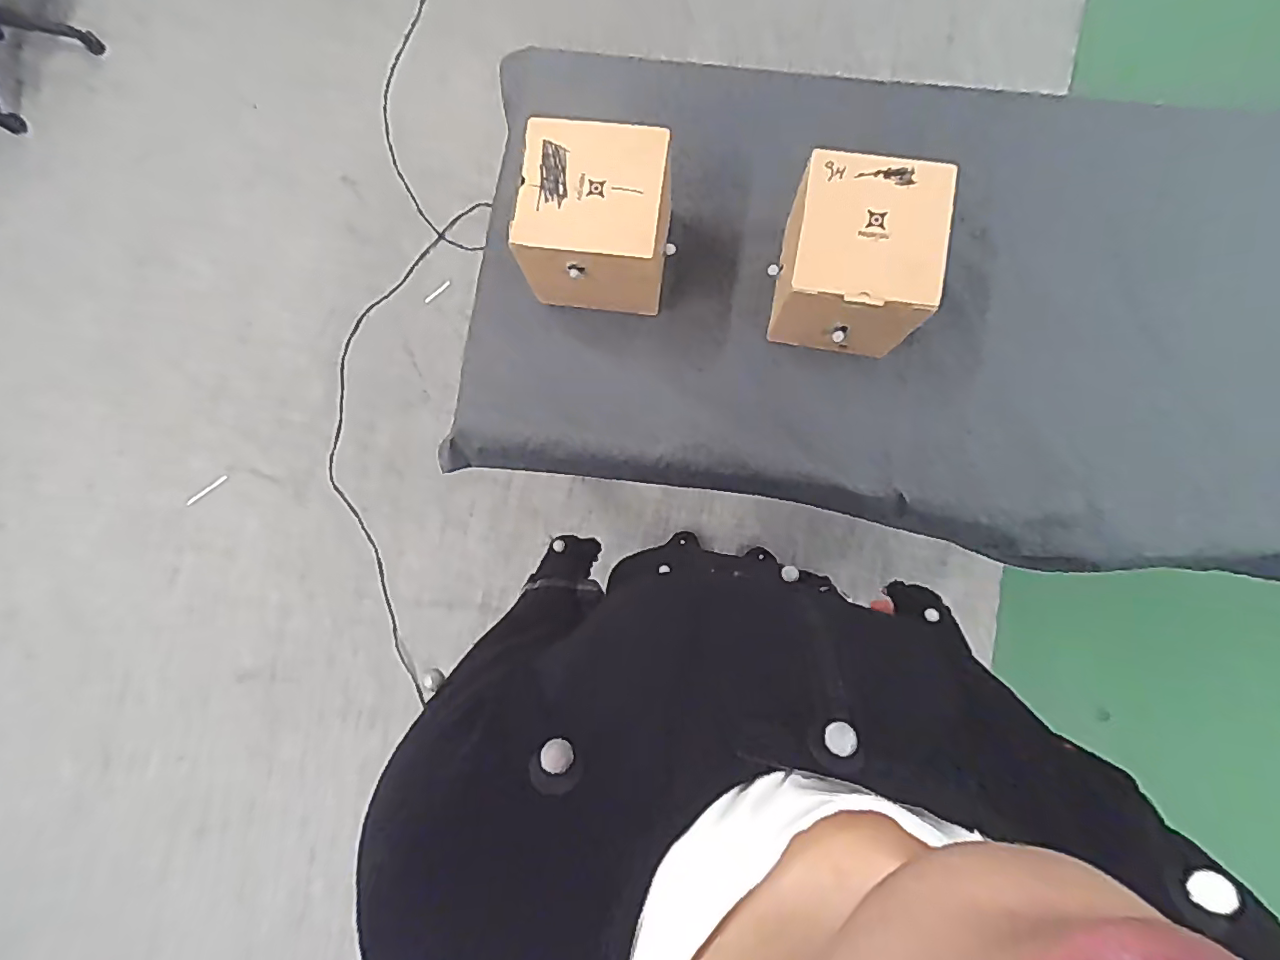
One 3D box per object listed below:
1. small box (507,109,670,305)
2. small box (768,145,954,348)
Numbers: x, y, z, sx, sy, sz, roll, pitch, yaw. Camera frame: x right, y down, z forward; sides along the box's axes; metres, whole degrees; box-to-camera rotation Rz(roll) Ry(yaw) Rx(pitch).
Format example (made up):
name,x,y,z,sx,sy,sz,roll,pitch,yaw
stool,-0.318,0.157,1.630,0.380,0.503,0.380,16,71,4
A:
name,x,y,z,sx,sy,sz,roll,pitch,yaw
small box,-0.057,-0.348,0.719,0.179,0.176,0.168,8,86,3
small box,0.267,-0.285,0.695,0.168,0.176,0.179,10,86,4
